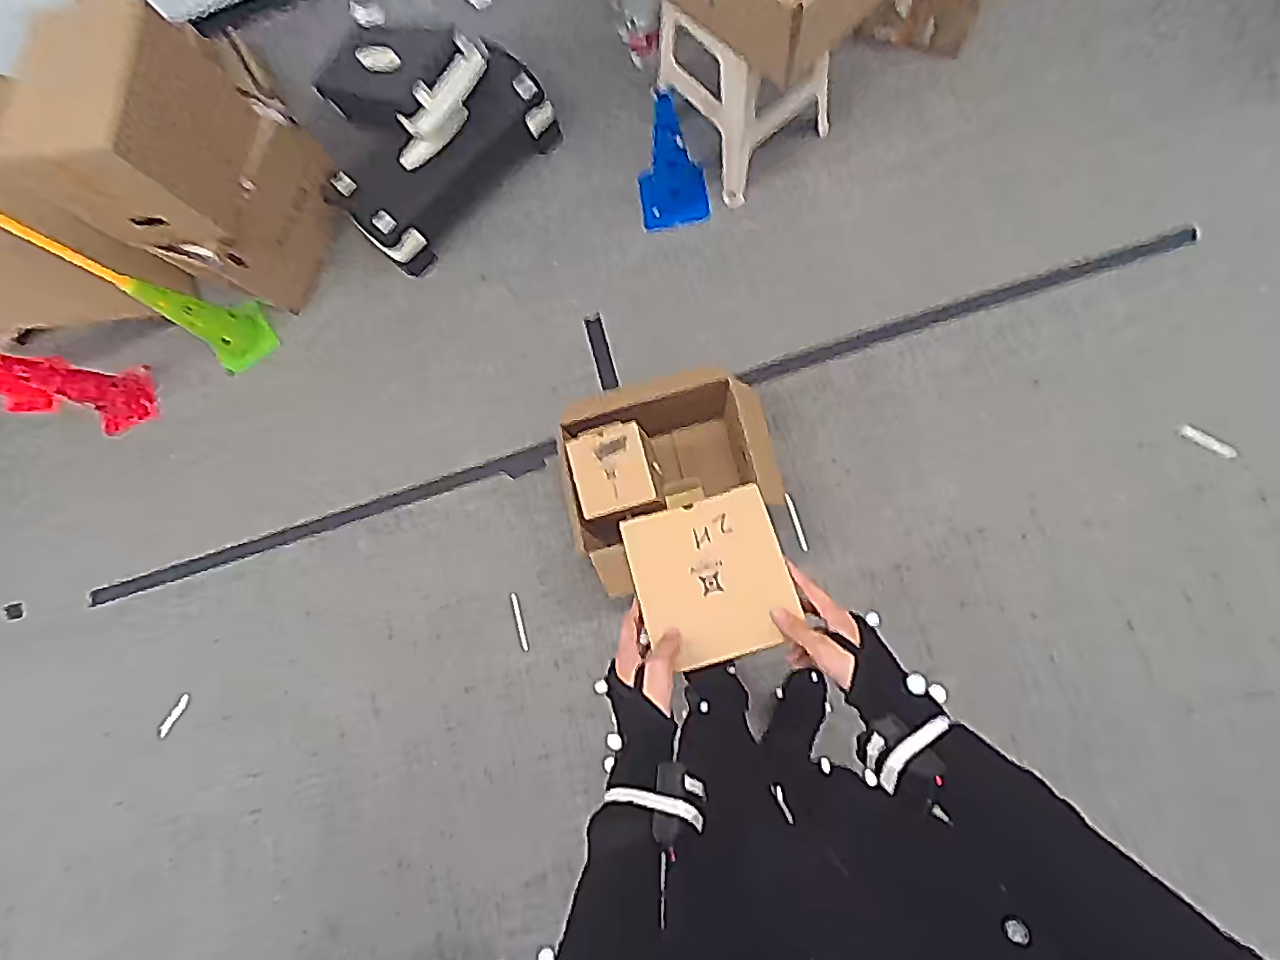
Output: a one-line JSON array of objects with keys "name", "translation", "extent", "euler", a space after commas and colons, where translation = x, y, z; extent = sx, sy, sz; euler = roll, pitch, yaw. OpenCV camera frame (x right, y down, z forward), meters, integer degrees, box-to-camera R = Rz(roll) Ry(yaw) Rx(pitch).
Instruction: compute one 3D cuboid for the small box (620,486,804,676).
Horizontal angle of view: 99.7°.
[{"name": "small box", "translation": [0.086, 0.130, 0.667], "extent": [0.168, 0.176, 0.179], "euler": [-17, 70, 2]}]
